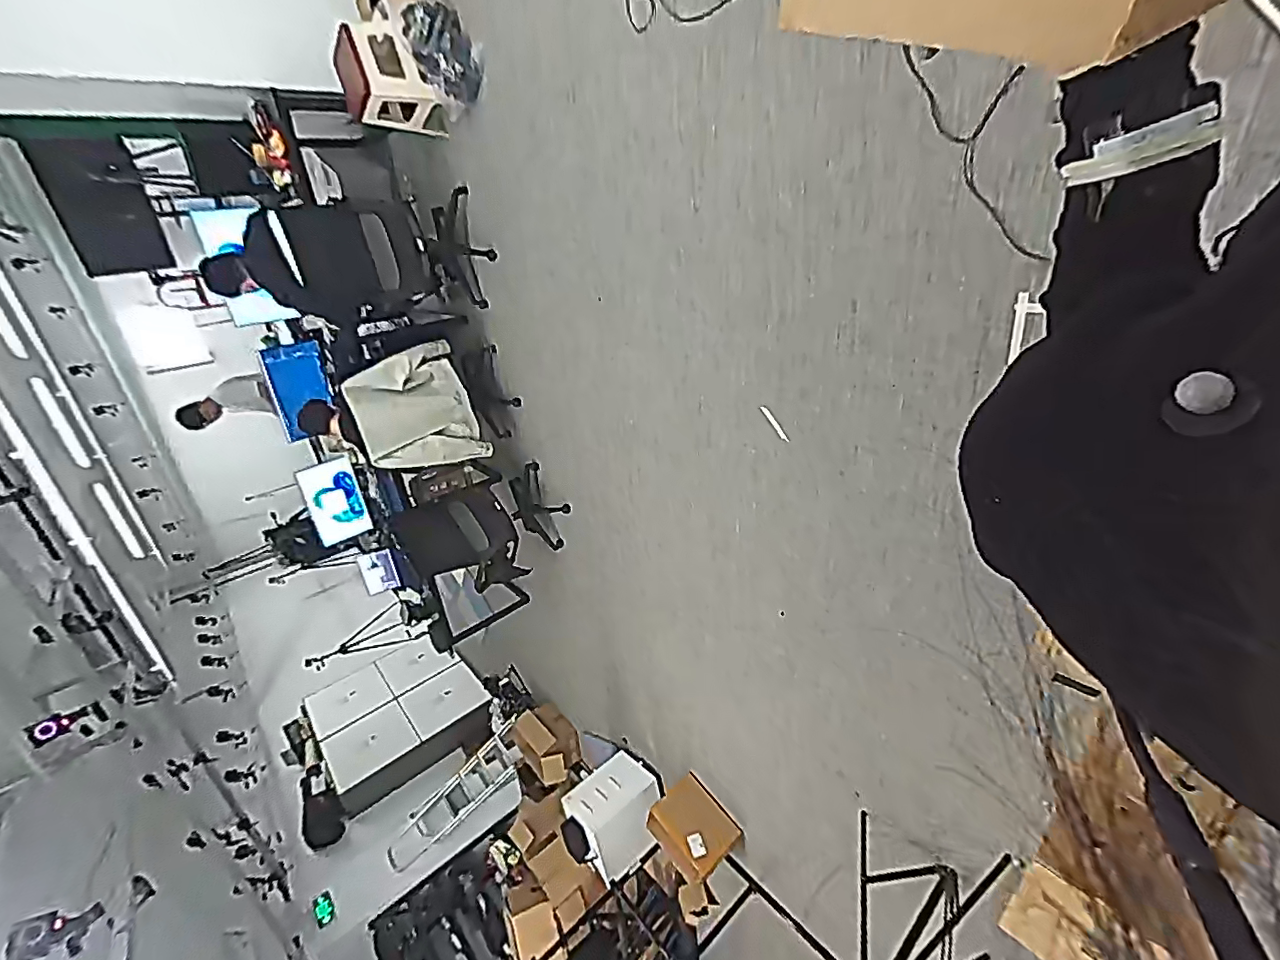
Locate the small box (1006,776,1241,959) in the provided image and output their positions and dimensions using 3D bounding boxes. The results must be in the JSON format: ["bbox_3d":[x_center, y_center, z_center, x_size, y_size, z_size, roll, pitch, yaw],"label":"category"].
[{"bbox_3d":[0.599,0.522,0.677,0.168,0.176,0.179,26,133,44],"label":"small box"}]

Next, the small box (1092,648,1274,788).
[{"bbox_3d":[0.844,0.404,0.856,0.168,0.176,0.179,28,131,41],"label":"small box"}]

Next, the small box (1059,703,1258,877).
[{"bbox_3d":[0.720,0.459,0.765,0.168,0.176,0.179,26,131,43],"label":"small box"}]

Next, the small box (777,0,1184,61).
[{"bbox_3d":[0.192,-0.316,0.242,0.179,0.176,0.168,39,152,32],"label":"small box"}]
